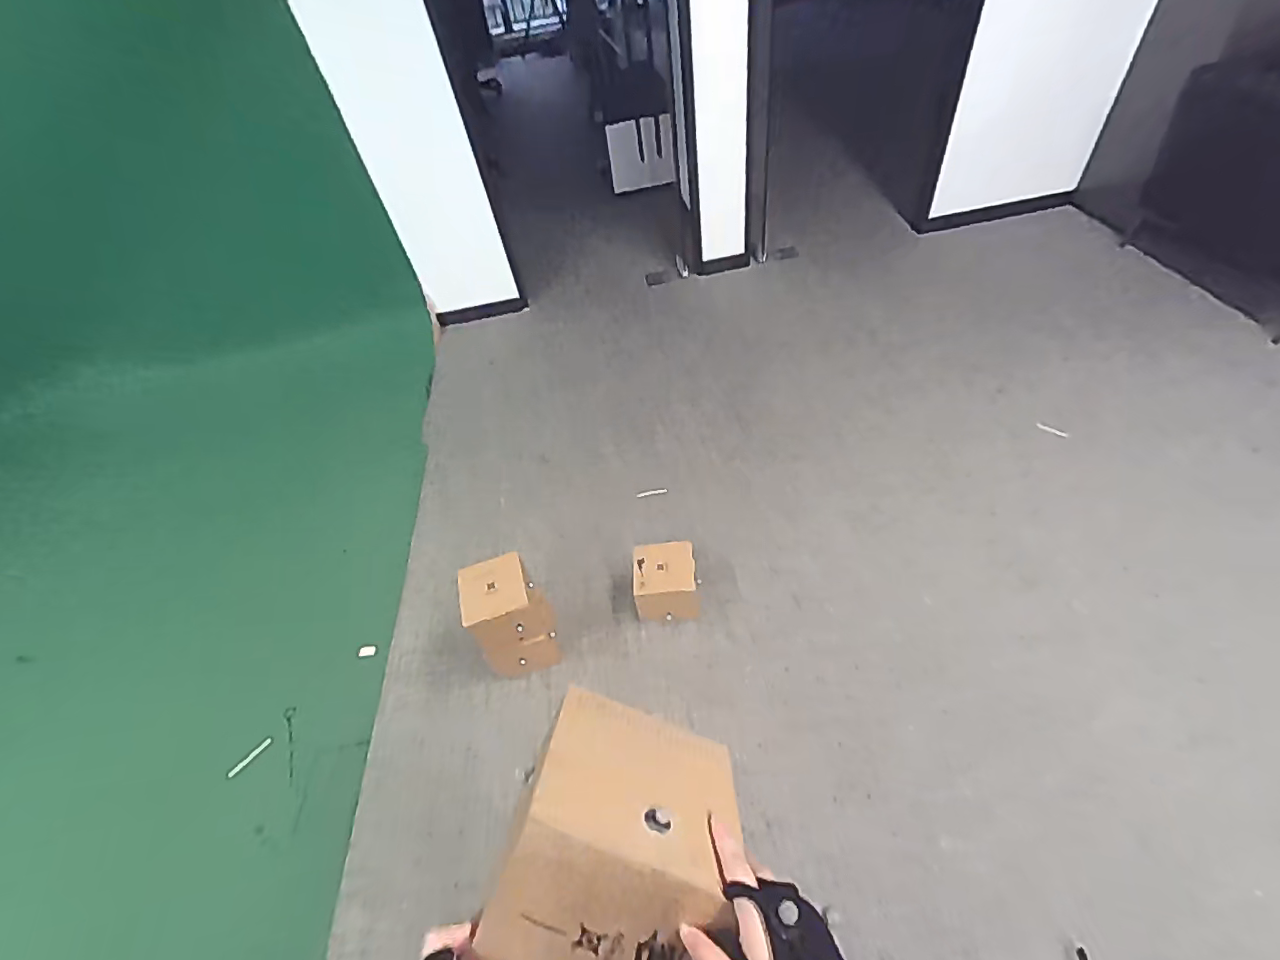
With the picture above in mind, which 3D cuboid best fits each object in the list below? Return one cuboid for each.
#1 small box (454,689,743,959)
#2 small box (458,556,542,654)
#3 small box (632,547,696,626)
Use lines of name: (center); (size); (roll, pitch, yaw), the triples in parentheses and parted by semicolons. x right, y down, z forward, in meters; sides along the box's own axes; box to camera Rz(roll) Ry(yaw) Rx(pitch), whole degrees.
small box: (-0.030, 0.323, 0.484); (0.179, 0.168, 0.176); (24, 12, -1)
small box: (-0.367, 0.337, 1.428); (0.168, 0.176, 0.179); (-17, 47, -7)
small box: (0.073, 0.316, 1.592); (0.179, 0.176, 0.168); (-5, 47, 5)
